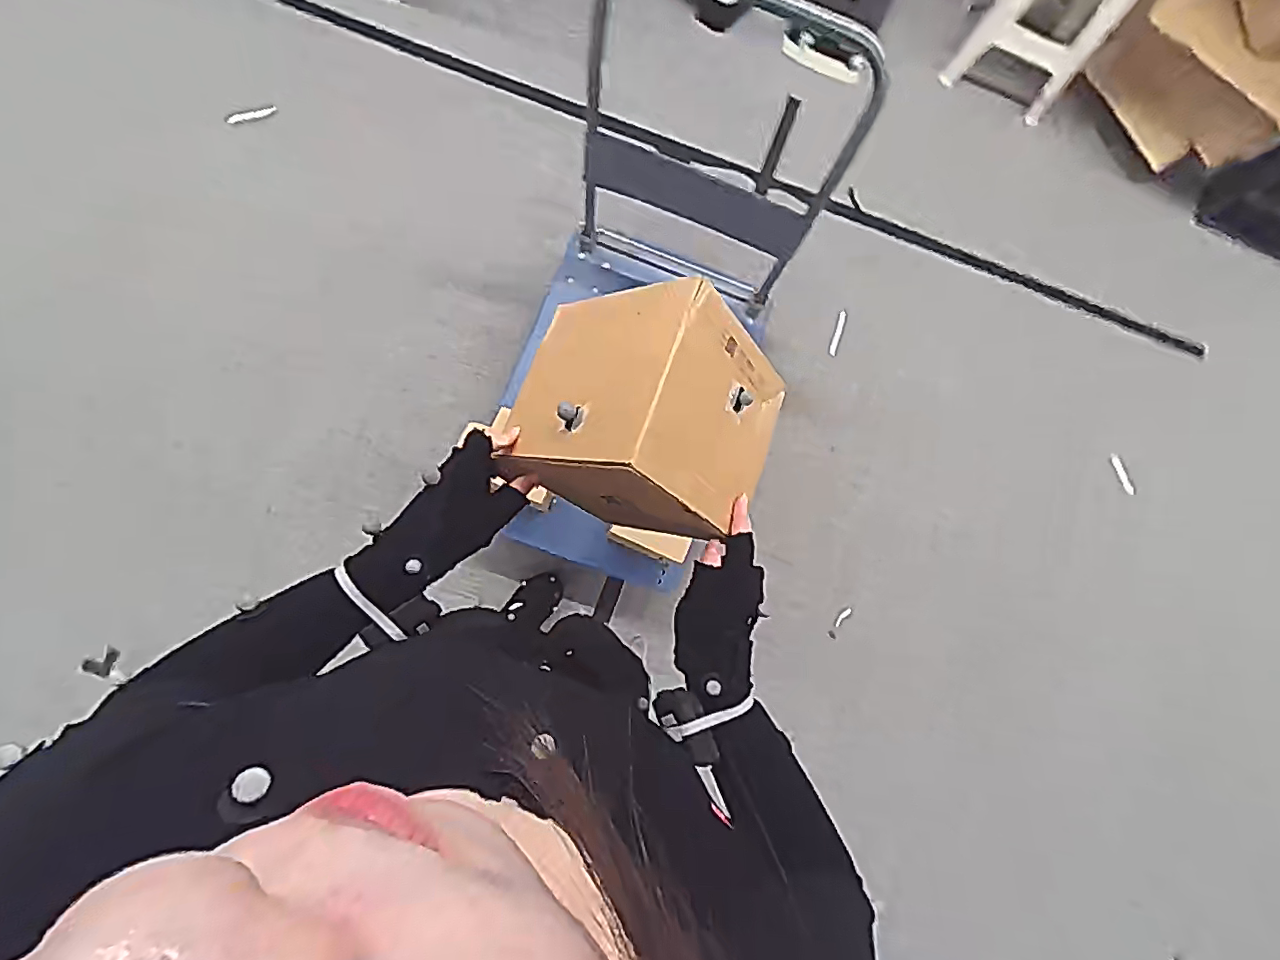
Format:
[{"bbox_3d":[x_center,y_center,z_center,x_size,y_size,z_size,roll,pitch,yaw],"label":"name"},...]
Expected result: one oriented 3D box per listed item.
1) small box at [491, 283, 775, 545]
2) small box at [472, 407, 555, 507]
[{"bbox_3d":[0.001,-0.056,0.506,0.168,0.179,0.176,34,68,-45],"label":"small box"},{"bbox_3d":[-0.261,-0.045,1.265,0.179,0.176,0.168,25,79,-1],"label":"small box"}]
